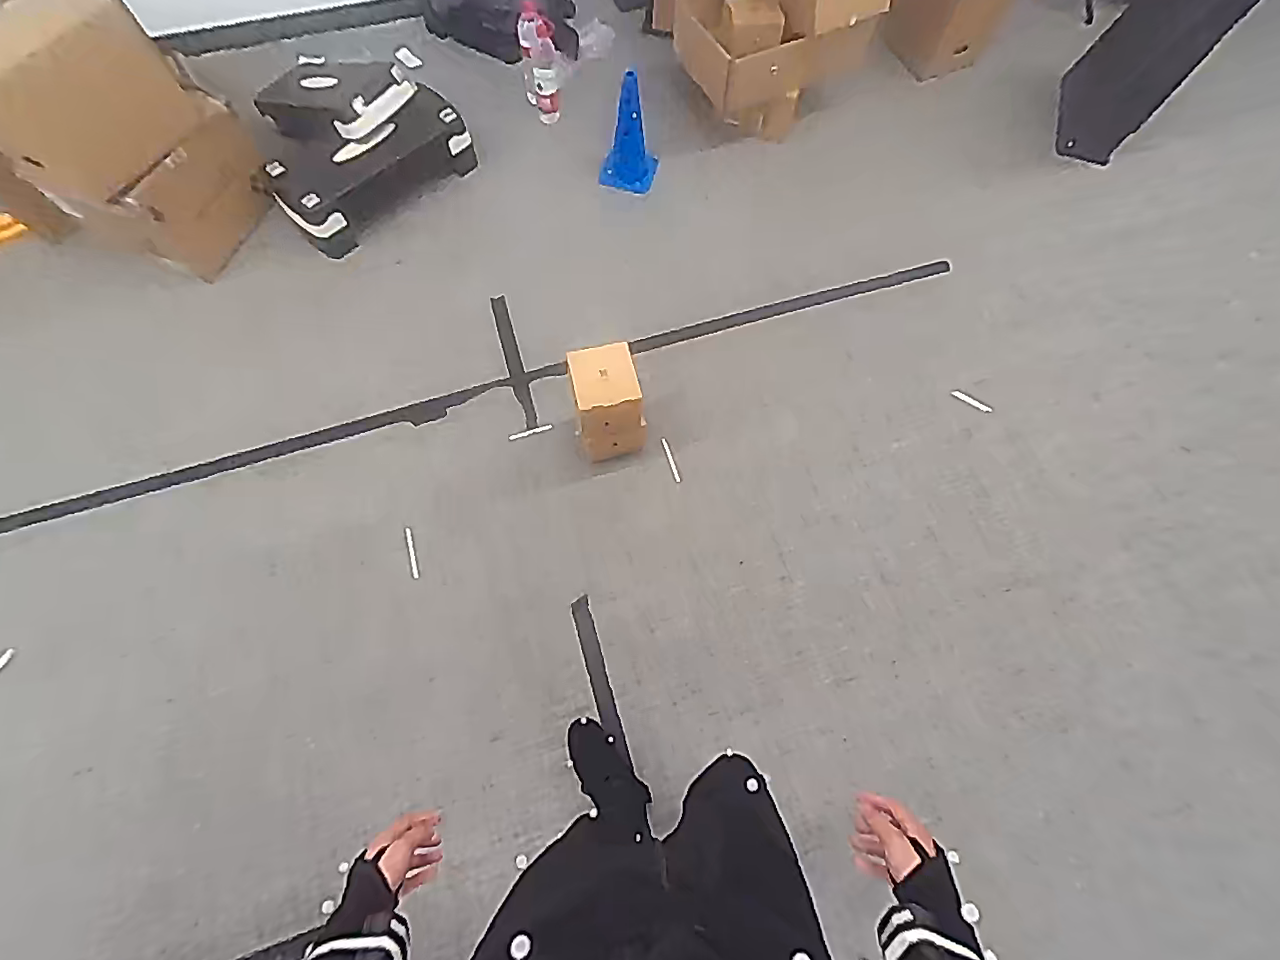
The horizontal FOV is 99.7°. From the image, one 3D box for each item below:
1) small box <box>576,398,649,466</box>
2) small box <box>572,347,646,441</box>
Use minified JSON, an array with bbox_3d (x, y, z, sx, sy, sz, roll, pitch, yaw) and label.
[{"bbox_3d":[-0.082,-0.163,1.615,0.179,0.176,0.168,-17,71,-7],"label":"small box"},{"bbox_3d":[-0.086,-0.230,1.466,0.168,0.176,0.179,-12,71,-7],"label":"small box"}]
